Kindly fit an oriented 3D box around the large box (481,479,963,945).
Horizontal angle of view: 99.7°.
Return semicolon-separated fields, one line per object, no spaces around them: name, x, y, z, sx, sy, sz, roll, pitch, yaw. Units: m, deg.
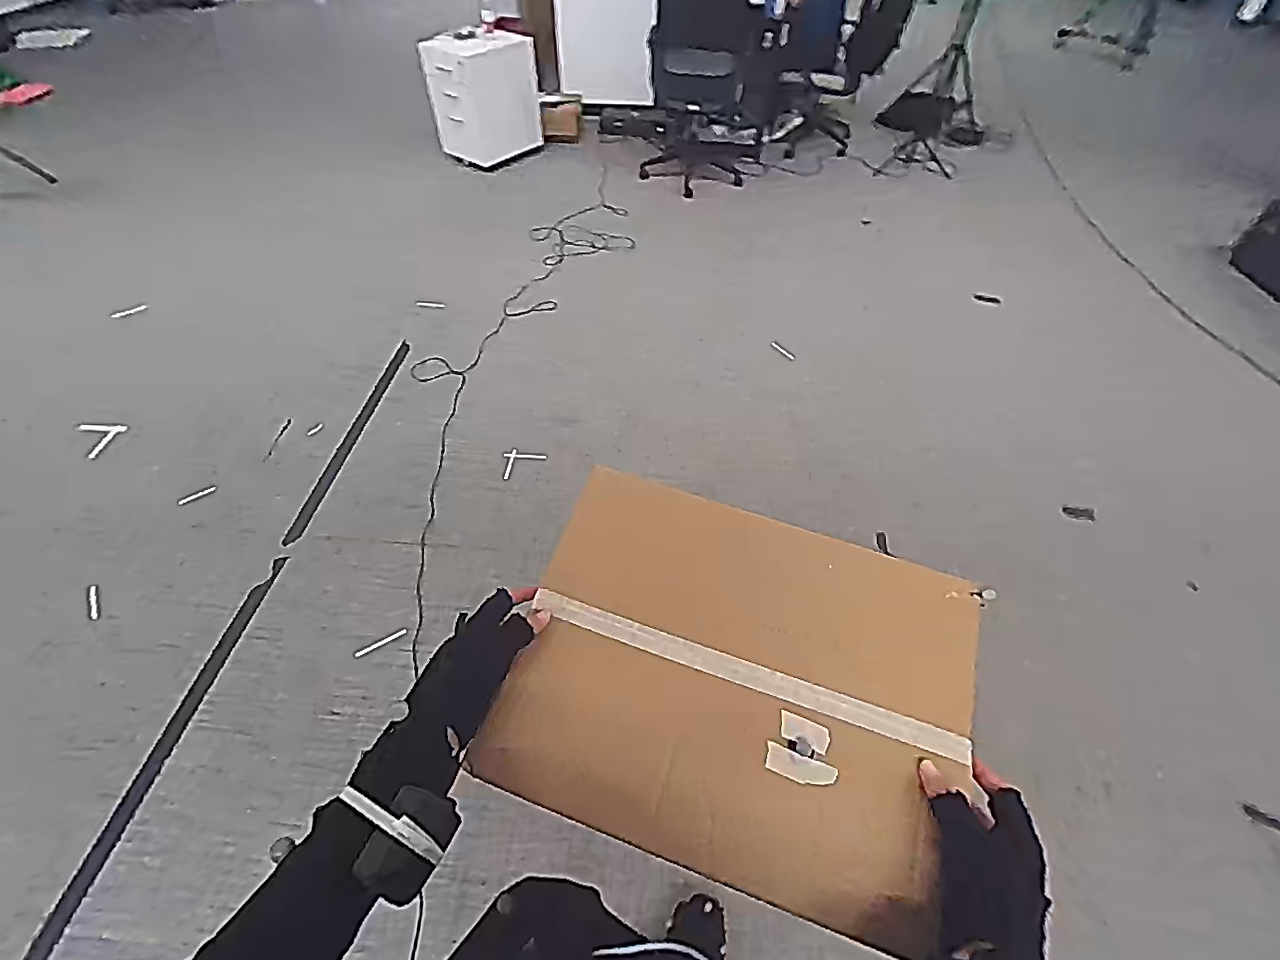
large box;0.090;0.247;0.643;0.408;0.320;0.320;18;65;8
